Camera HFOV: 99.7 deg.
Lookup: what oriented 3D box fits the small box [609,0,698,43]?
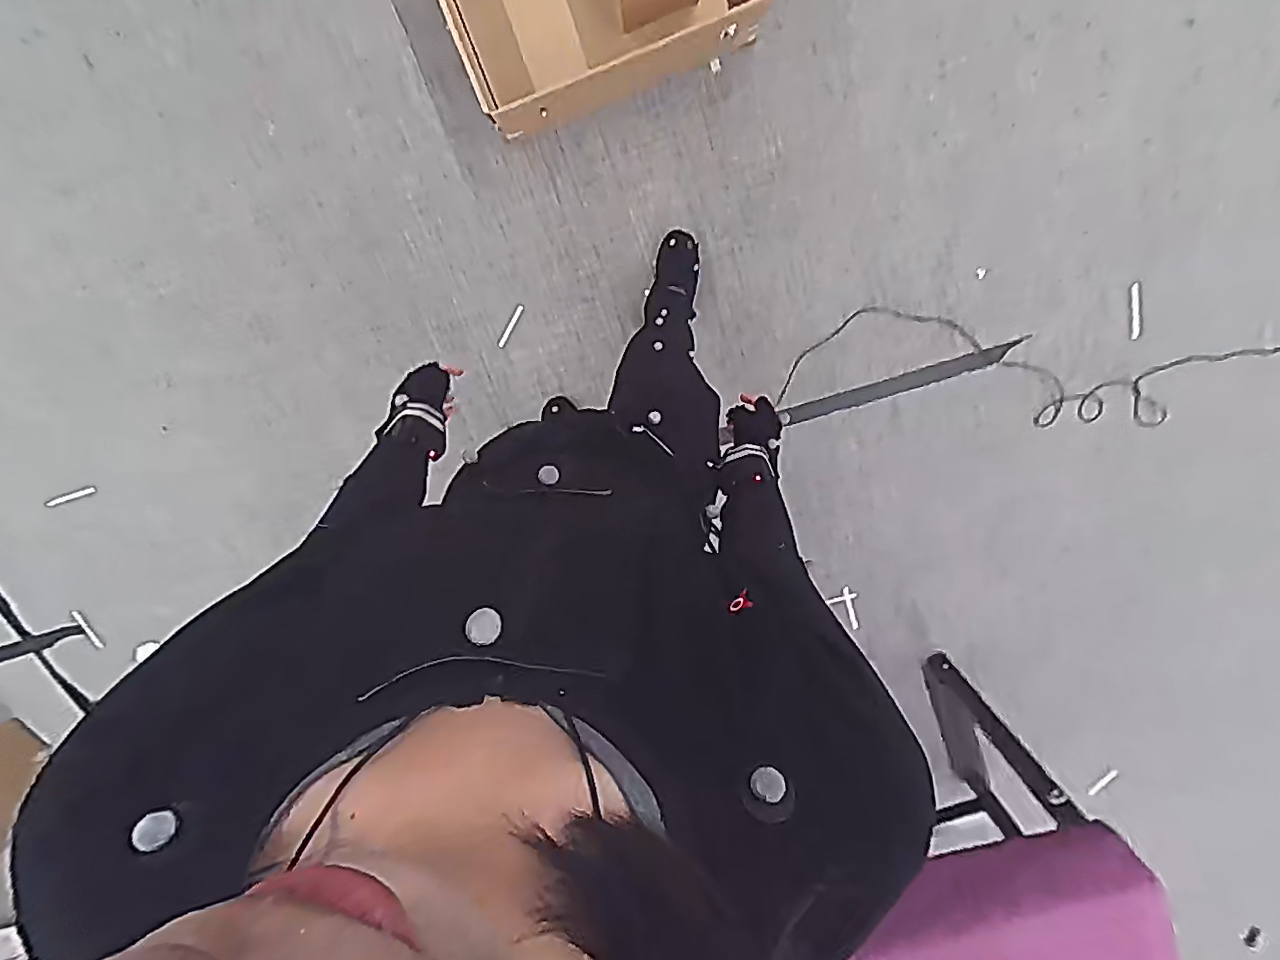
[{"bbox_3d":[0.018,-1.021,1.068,0.179,0.176,0.168,-19,106,7],"label":"small box"}]
